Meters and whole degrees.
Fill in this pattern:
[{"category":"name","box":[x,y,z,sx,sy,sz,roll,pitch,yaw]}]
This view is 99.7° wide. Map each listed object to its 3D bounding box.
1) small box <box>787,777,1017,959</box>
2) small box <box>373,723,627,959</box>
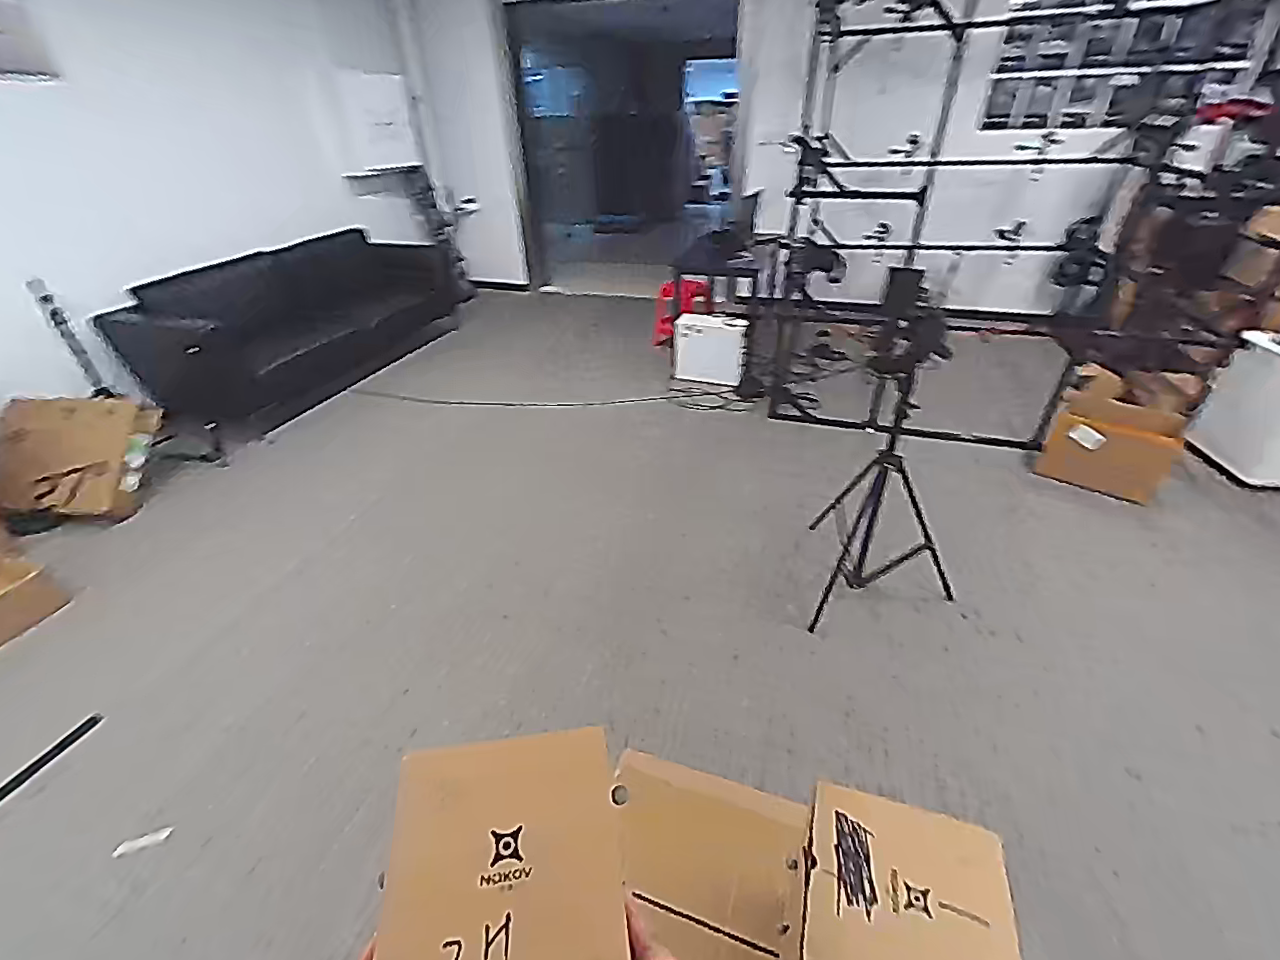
[{"category":"small box","box":[0.246,0.442,0.539,0.179,0.176,0.168,9,35,18]},{"category":"small box","box":[-0.107,0.334,0.450,0.168,0.176,0.179,-4,43,-11]}]
